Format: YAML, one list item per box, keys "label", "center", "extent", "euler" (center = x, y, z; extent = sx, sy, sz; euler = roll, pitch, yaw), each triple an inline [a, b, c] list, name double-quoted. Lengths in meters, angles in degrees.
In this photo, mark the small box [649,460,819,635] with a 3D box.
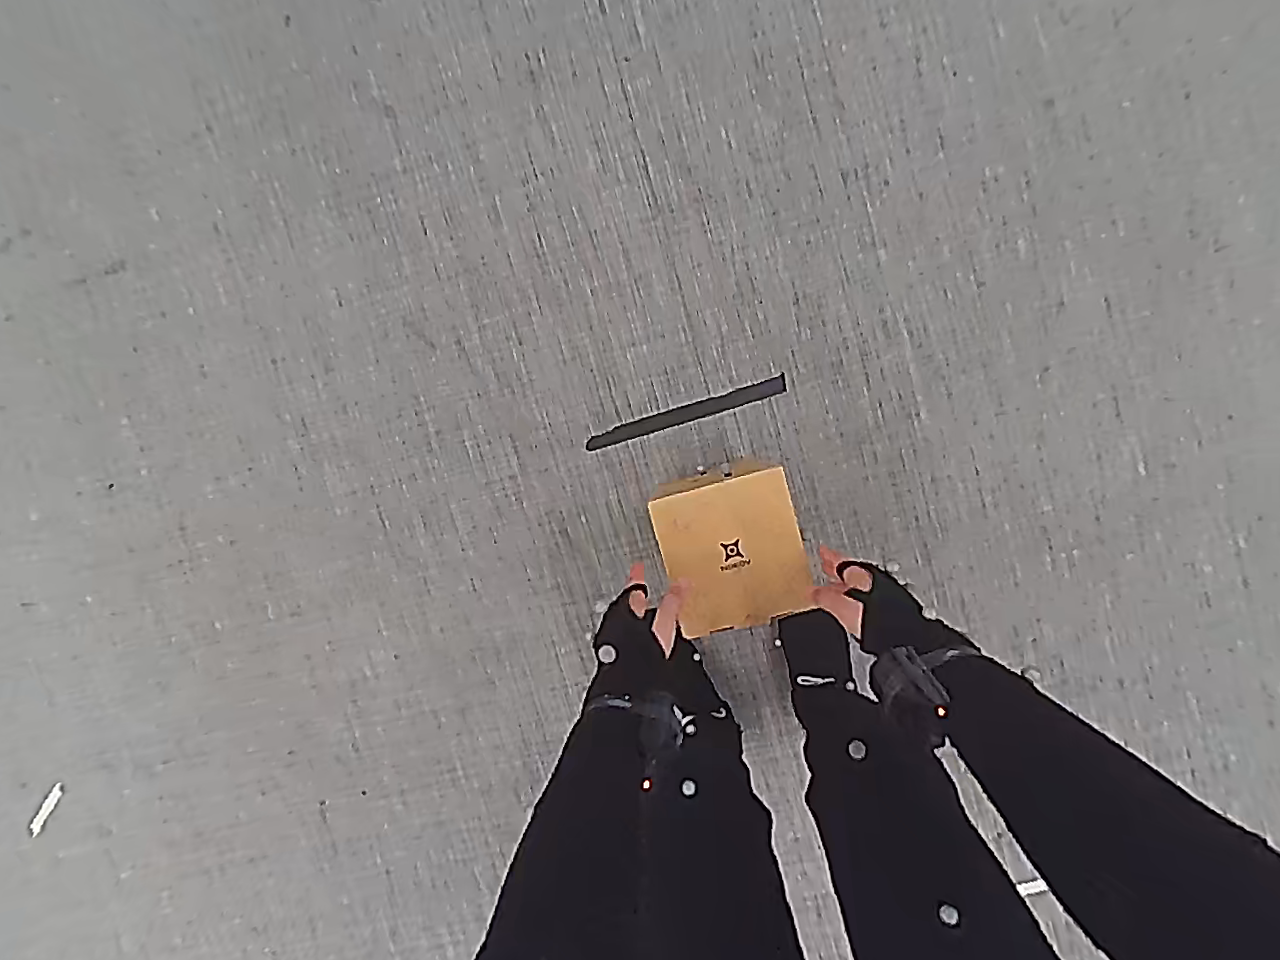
- label: "small box"
  center: [0.114, 0.075, 0.710]
  extent: [0.168, 0.176, 0.179]
  euler: [-16, 94, 6]
